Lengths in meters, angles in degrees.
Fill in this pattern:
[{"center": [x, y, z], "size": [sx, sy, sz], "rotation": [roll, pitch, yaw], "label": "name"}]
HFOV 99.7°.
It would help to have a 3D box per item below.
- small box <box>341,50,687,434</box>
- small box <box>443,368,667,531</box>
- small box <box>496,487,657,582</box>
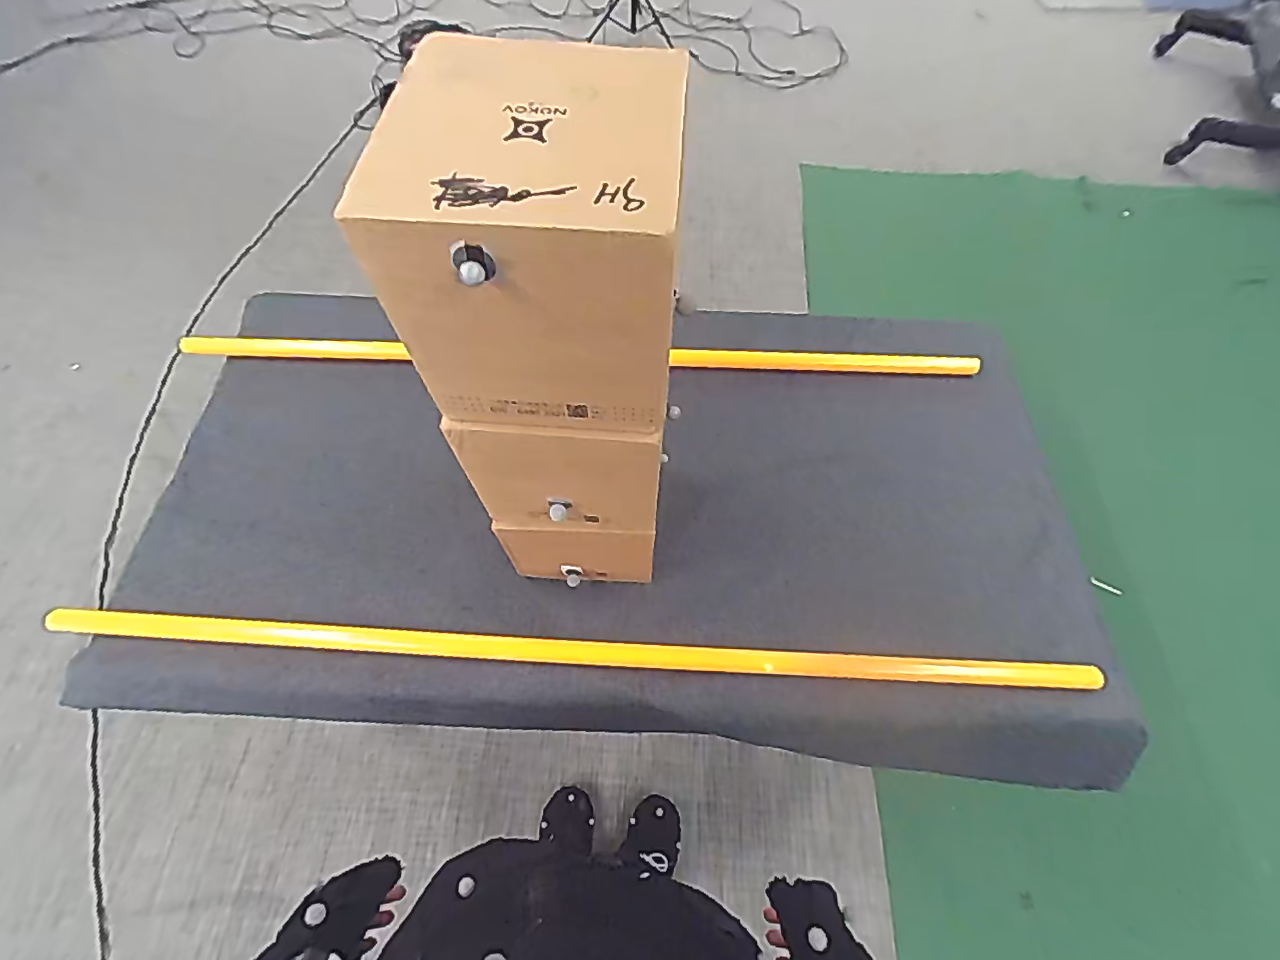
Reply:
[{"center": [-0.059, -0.154, 0.371], "size": [0.168, 0.176, 0.179], "rotation": [4, 61, 3], "label": "small box"}, {"center": [-0.060, -0.070, 0.511], "size": [0.168, 0.176, 0.179], "rotation": [4, 62, 3], "label": "small box"}, {"center": [-0.063, 0.012, 0.654], "size": [0.168, 0.176, 0.179], "rotation": [1, 63, 1], "label": "small box"}]
